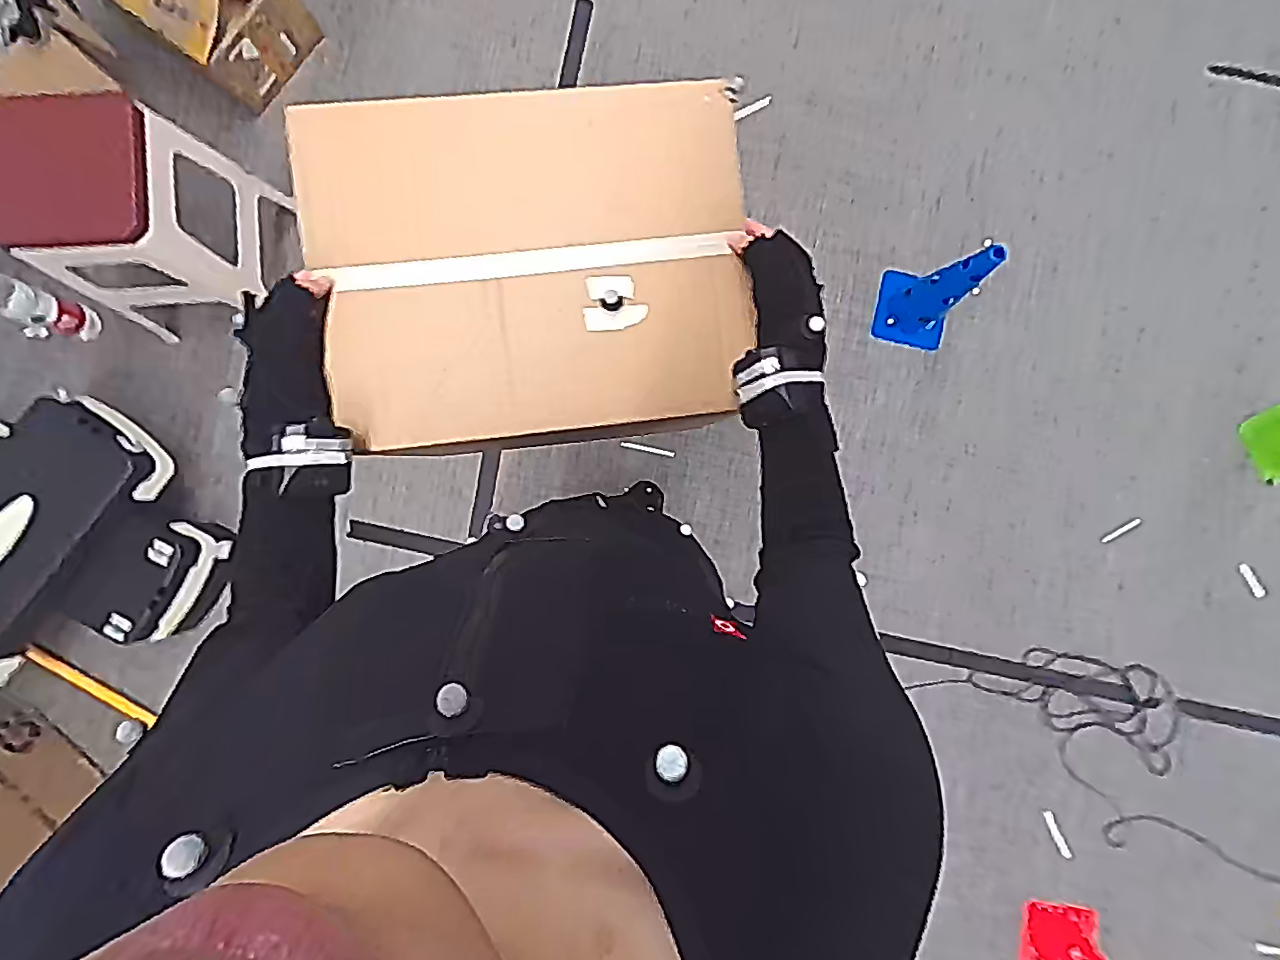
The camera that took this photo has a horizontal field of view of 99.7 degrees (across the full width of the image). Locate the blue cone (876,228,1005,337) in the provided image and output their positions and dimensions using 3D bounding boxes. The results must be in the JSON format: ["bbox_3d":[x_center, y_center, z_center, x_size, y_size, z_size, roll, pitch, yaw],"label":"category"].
[{"bbox_3d":[0.771,-0.514,1.359,0.193,0.380,0.192,15,87,-1],"label":"blue cone"}]

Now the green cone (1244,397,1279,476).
[{"bbox_3d":[1.840,-0.143,1.359,0.200,0.368,0.202,-26,88,-3],"label":"green cone"}]

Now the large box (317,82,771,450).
[{"bbox_3d":[-0.097,-0.214,0.658,0.408,0.320,0.320,-6,93,-5],"label":"large box"}]

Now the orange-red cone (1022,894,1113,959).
[{"bbox_3d":[1.157,1.233,1.304,0.199,0.360,0.198,9,89,-3],"label":"orange-red cone"}]
